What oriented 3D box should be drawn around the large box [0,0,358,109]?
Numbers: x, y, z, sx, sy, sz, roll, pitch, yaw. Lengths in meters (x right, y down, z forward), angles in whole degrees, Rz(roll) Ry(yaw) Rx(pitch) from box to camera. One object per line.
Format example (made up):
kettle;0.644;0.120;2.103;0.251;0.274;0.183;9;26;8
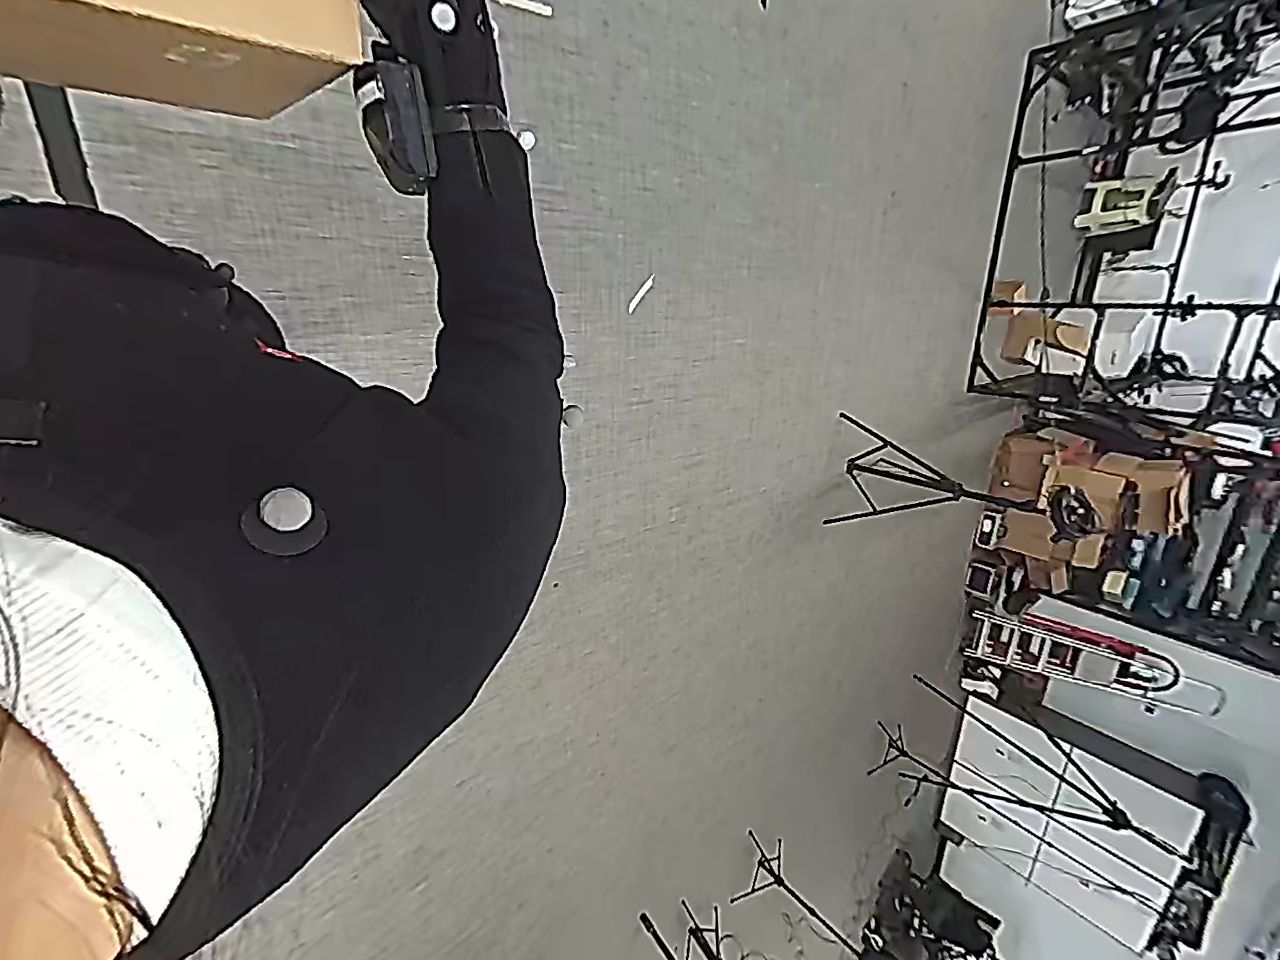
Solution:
large box;-0.405;-0.394;0.237;0.408;0.320;0.320;-17;123;-38
